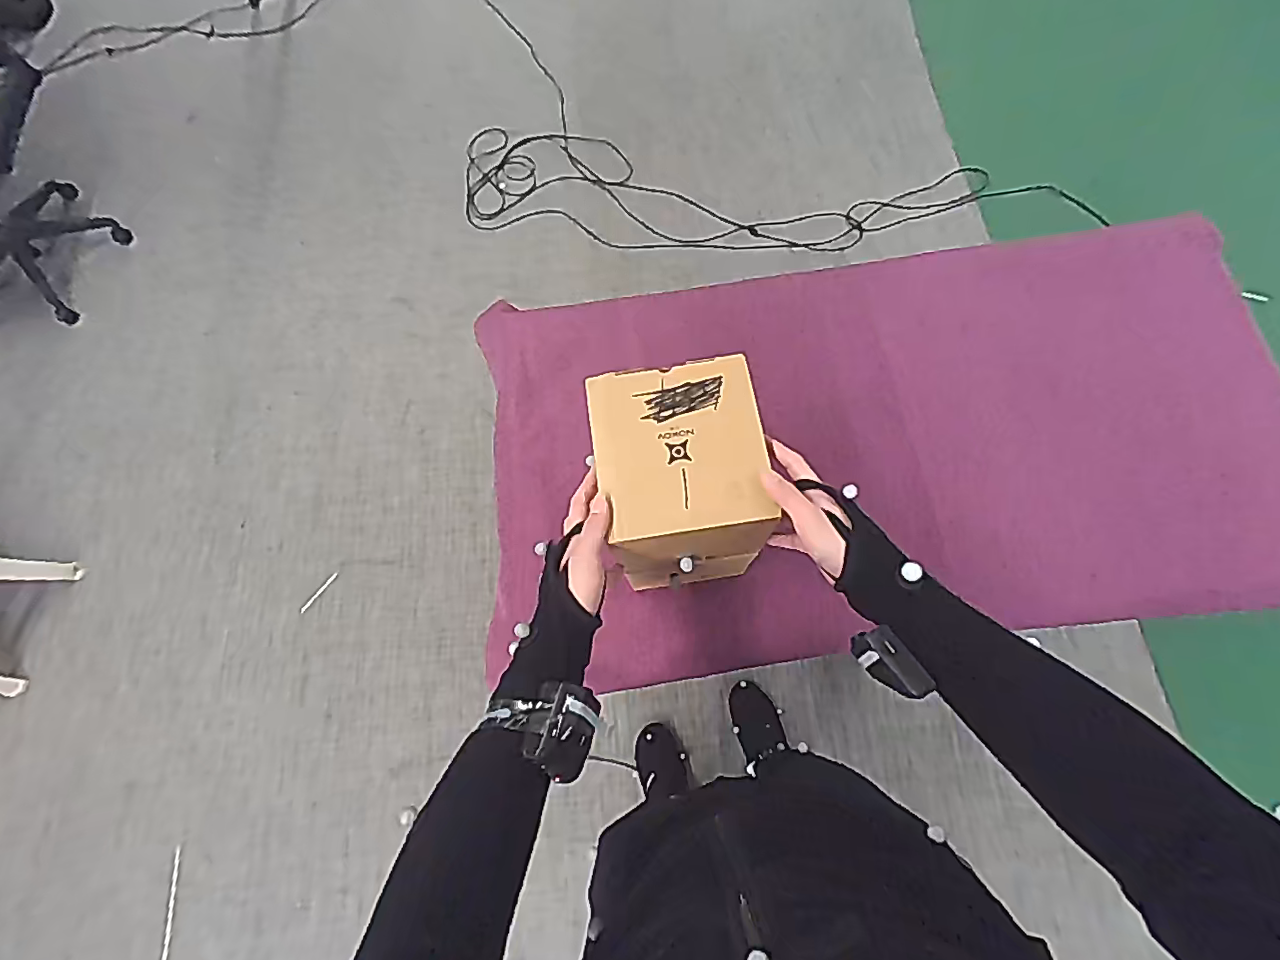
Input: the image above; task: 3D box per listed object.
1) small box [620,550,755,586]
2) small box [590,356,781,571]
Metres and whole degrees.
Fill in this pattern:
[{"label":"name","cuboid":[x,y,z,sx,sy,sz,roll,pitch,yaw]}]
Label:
[{"label":"small box","cuboid":[0.055,0.046,0.746,0.168,0.176,0.179,-9,70,2]},{"label":"small box","cuboid":[0.043,-0.008,0.593,0.168,0.176,0.179,-8,72,2]}]
